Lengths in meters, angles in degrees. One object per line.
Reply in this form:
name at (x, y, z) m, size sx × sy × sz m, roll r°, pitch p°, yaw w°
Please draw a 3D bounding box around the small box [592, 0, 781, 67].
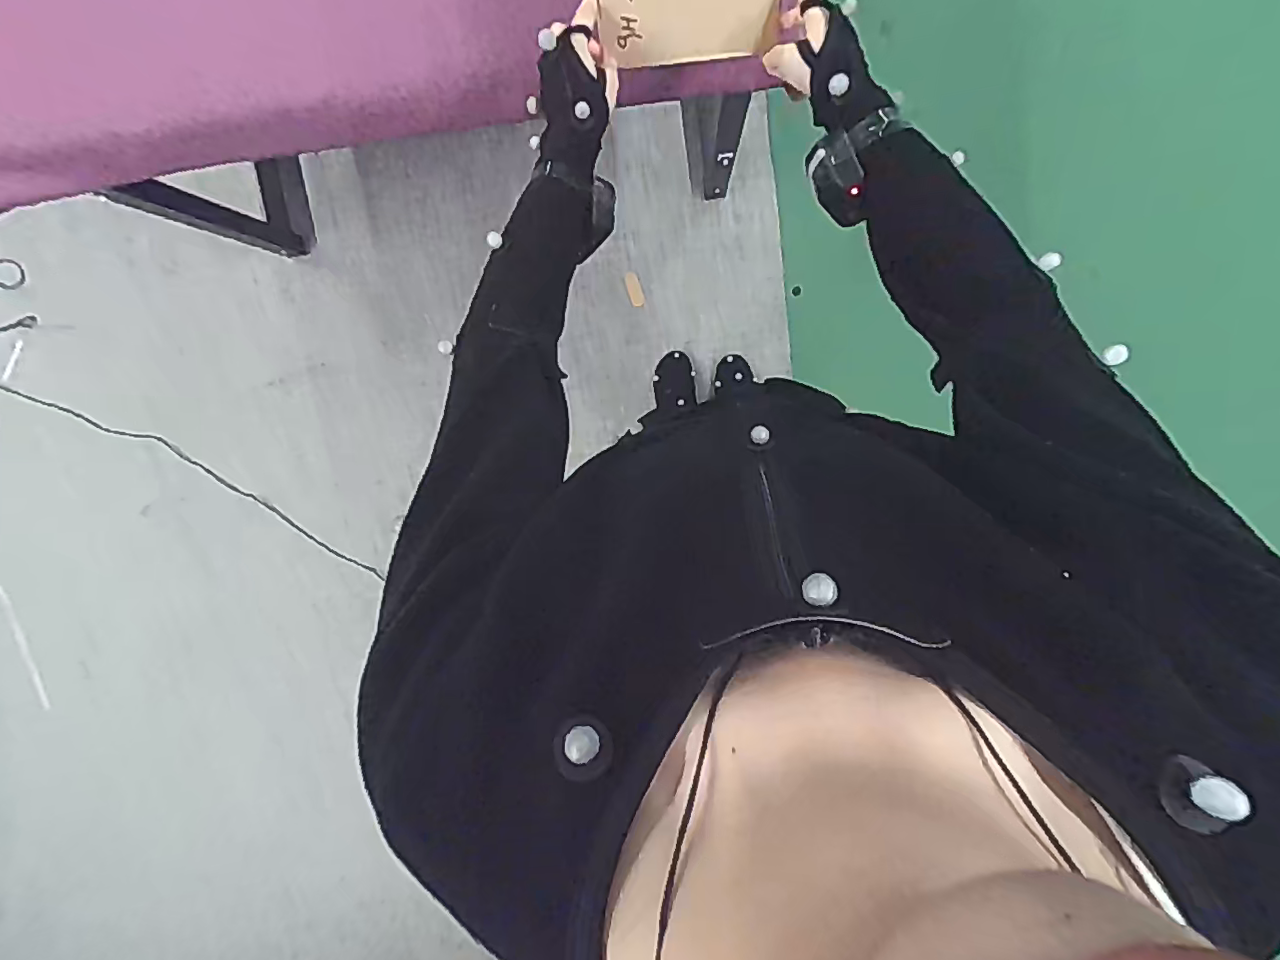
small box at (0.037, -0.531, 0.522) m, size 0.179 × 0.176 × 0.168 m, roll -6°, pitch 142°, yaw -1°
